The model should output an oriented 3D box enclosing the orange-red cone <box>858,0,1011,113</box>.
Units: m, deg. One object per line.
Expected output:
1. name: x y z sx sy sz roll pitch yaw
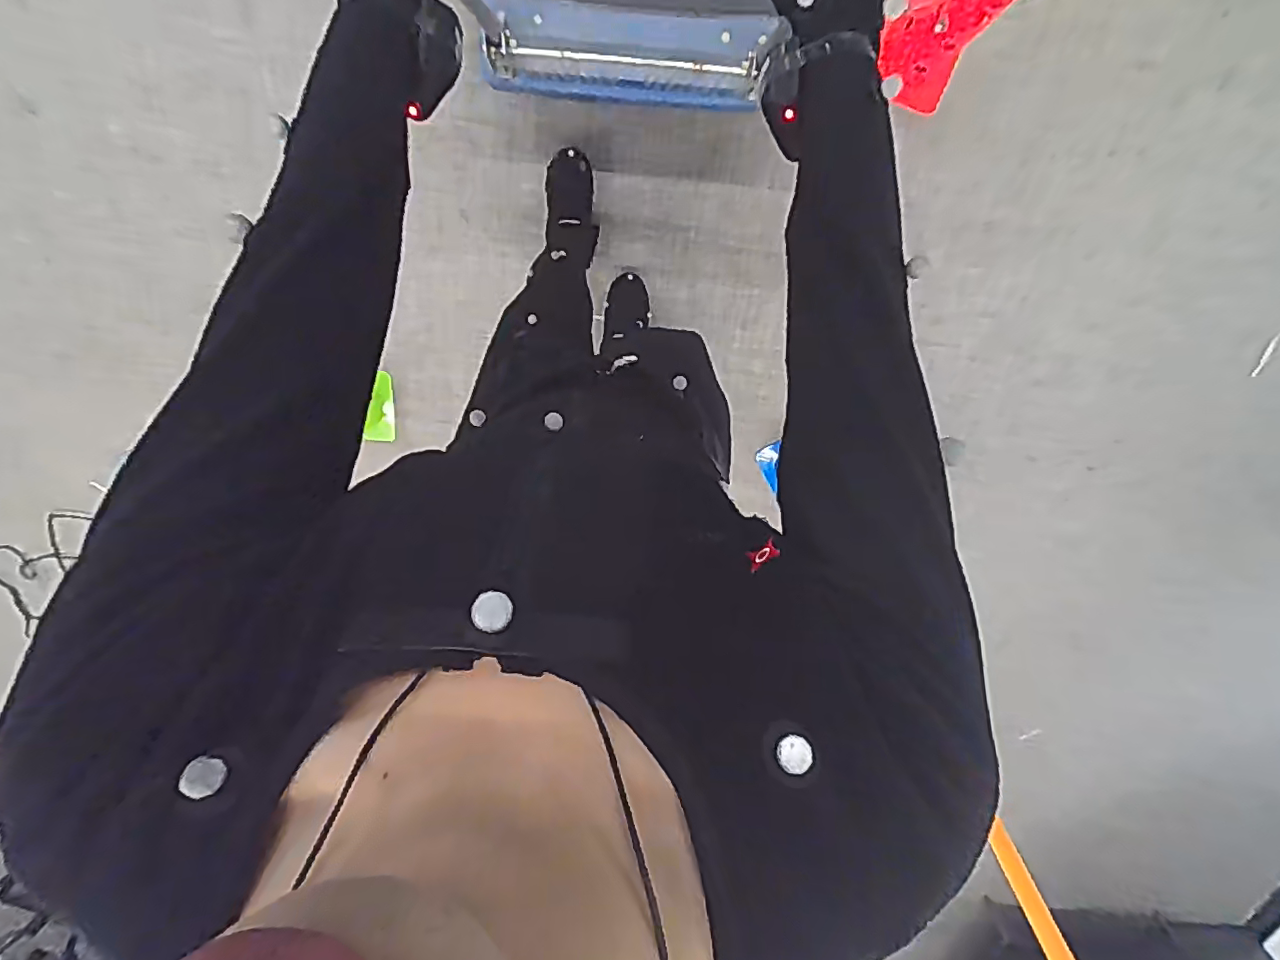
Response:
1. orange-red cone: 0.592 -0.856 1.005 0.198 0.360 0.199 17 113 -7
